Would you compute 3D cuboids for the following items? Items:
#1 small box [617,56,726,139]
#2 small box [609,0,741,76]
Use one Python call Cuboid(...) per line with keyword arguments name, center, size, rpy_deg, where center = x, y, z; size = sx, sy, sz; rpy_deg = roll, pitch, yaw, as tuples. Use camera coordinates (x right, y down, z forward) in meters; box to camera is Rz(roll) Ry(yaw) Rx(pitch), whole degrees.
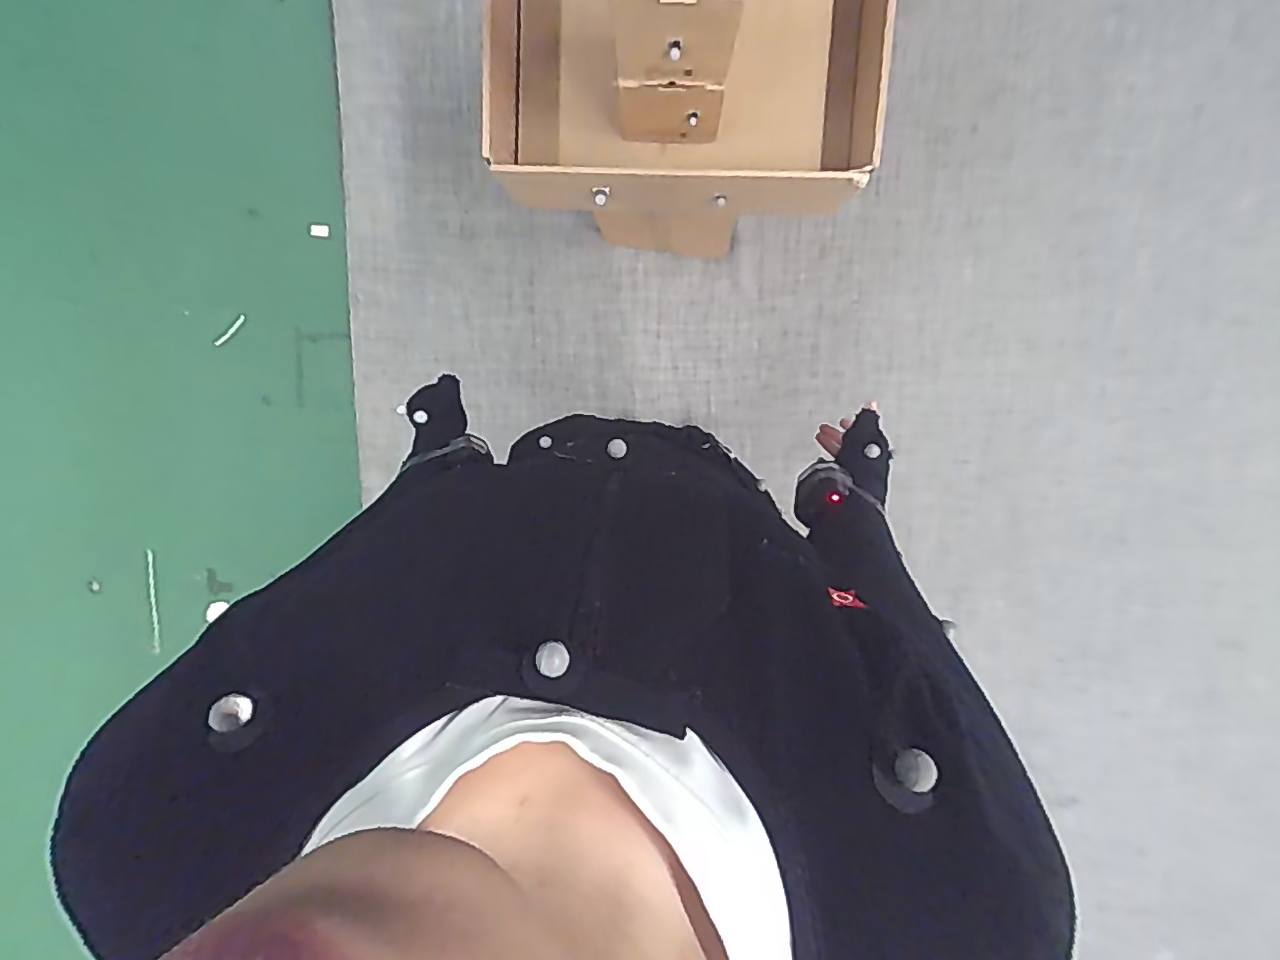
Cuboid(name="small box", center=(0.053, -0.683, 0.876), size=(0.168, 0.176, 0.179), rpy_deg=(2, 95, 1))
Cuboid(name="small box", center=(0.049, -0.672, 0.713), size=(0.168, 0.176, 0.179), rpy_deg=(2, 98, 1))
